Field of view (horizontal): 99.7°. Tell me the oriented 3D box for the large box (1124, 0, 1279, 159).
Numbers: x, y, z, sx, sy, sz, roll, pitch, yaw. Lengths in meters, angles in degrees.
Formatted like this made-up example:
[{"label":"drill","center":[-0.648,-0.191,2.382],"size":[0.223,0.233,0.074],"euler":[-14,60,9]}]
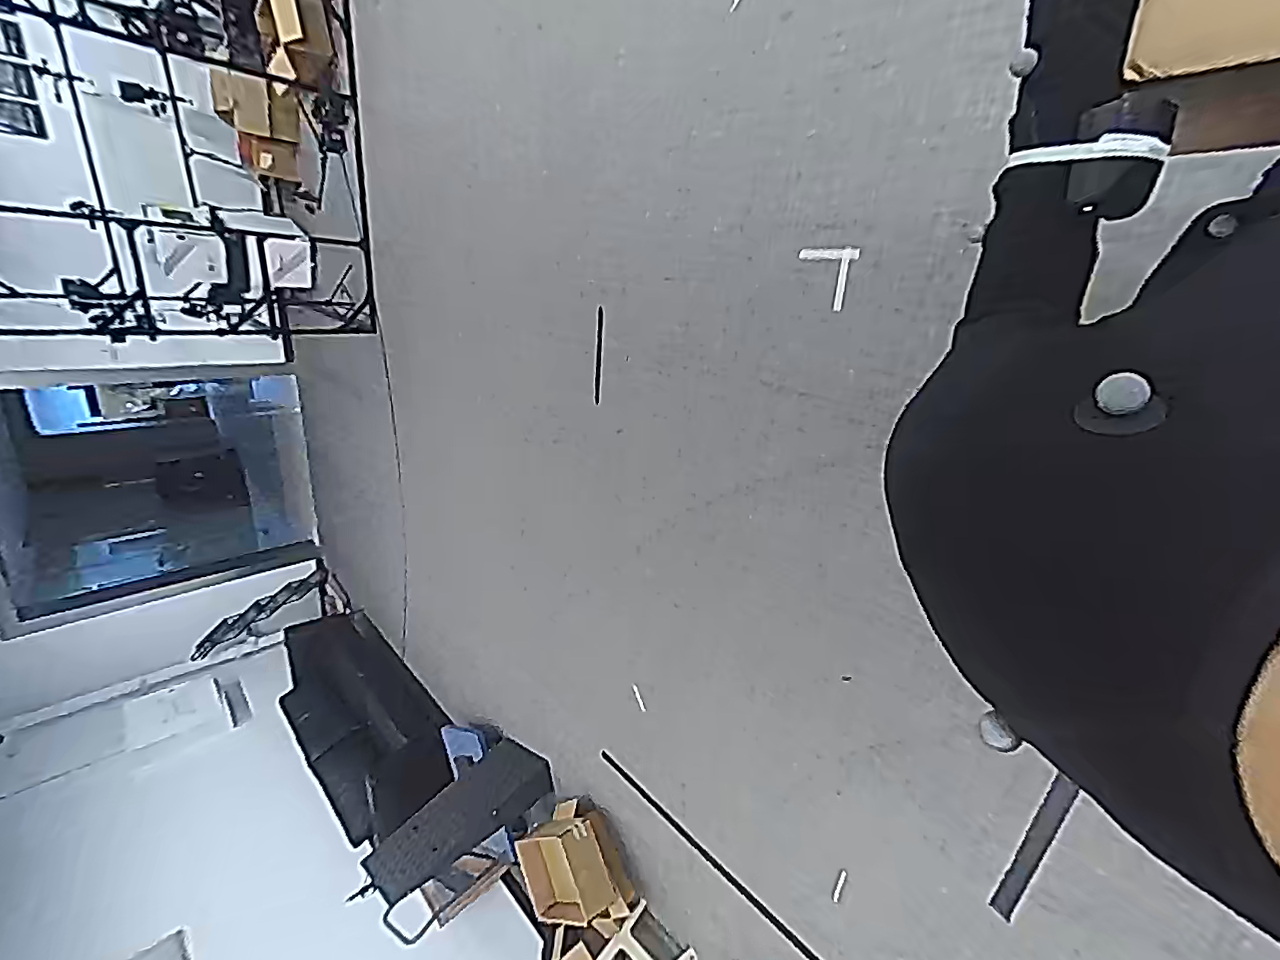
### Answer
[{"label":"large box","center":[0.564,-0.398,0.289],"size":[0.408,0.320,0.320],"euler":[18,117,39]}]
